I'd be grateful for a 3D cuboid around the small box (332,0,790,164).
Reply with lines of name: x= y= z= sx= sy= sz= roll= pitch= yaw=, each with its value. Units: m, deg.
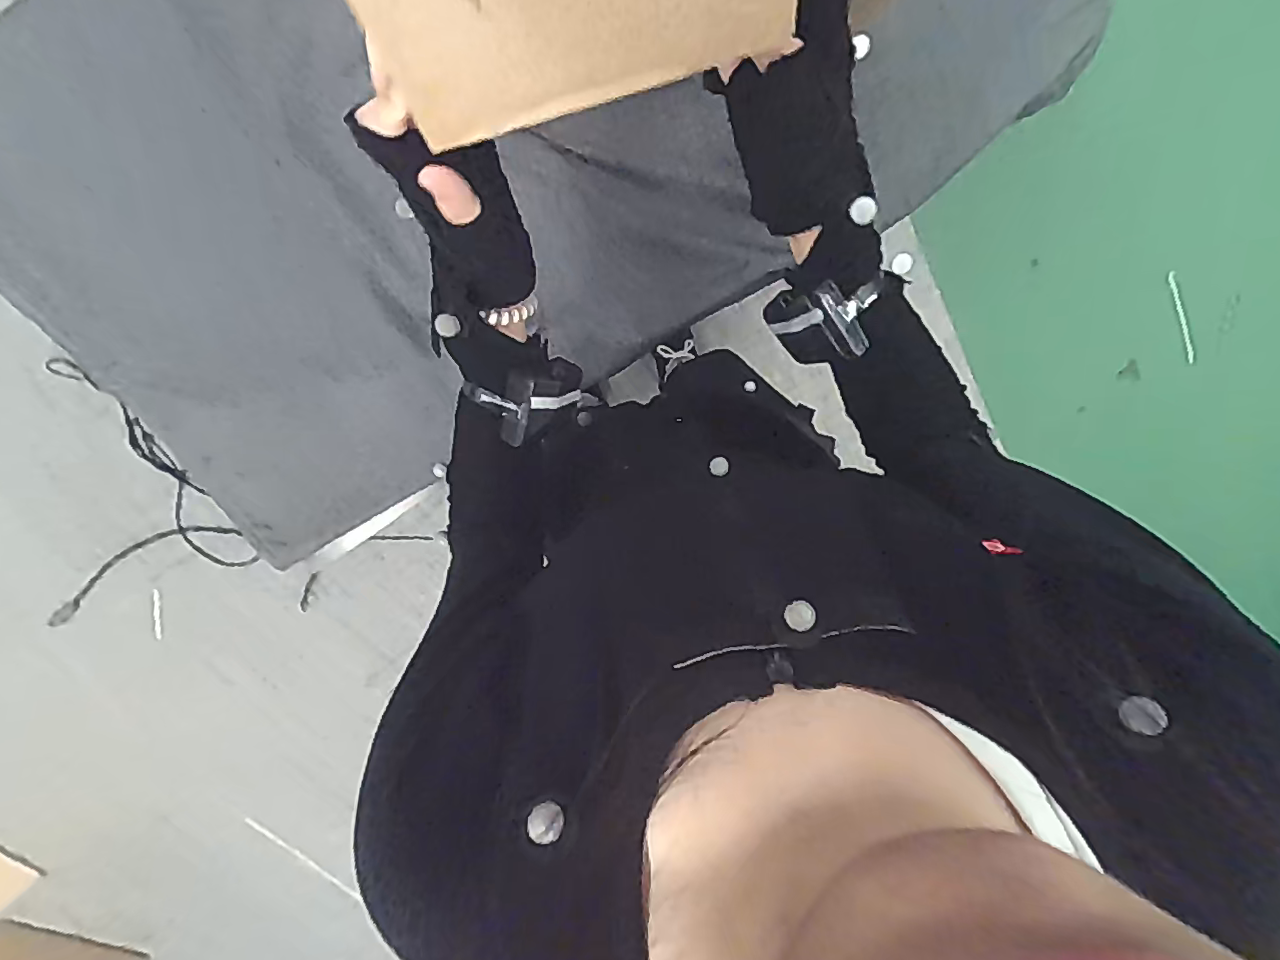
small box: x=-0.045 y=-0.273 z=0.210 sx=0.179 sy=0.168 sz=0.176 roll=-12 pitch=66 yaw=6
